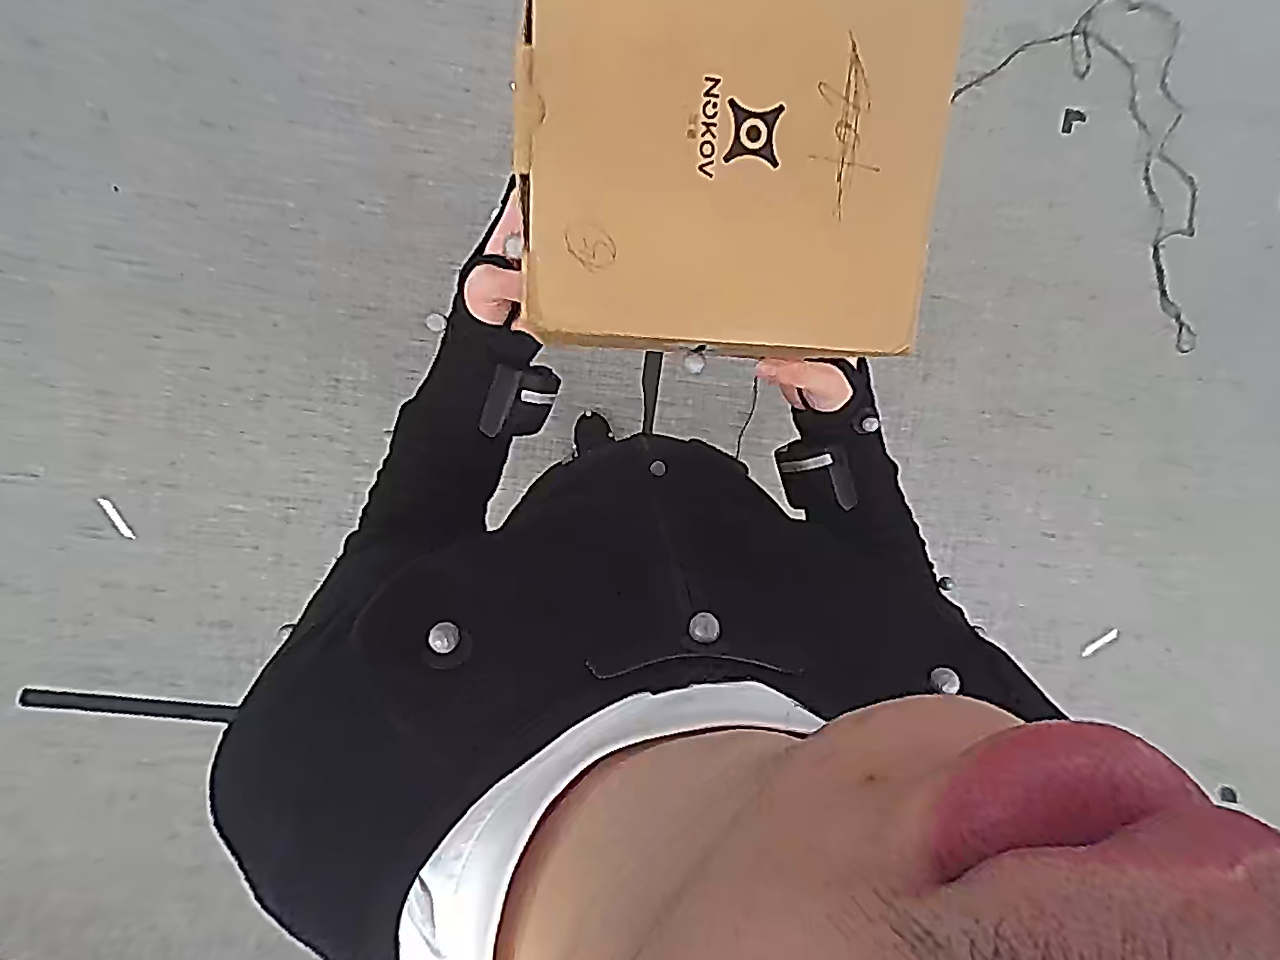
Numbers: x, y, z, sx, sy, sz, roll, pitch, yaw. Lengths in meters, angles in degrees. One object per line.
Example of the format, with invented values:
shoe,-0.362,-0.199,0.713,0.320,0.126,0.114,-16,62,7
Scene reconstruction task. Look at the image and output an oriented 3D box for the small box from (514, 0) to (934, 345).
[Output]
small box,0.027,-0.166,0.307,0.179,0.176,0.168,0,103,-8
